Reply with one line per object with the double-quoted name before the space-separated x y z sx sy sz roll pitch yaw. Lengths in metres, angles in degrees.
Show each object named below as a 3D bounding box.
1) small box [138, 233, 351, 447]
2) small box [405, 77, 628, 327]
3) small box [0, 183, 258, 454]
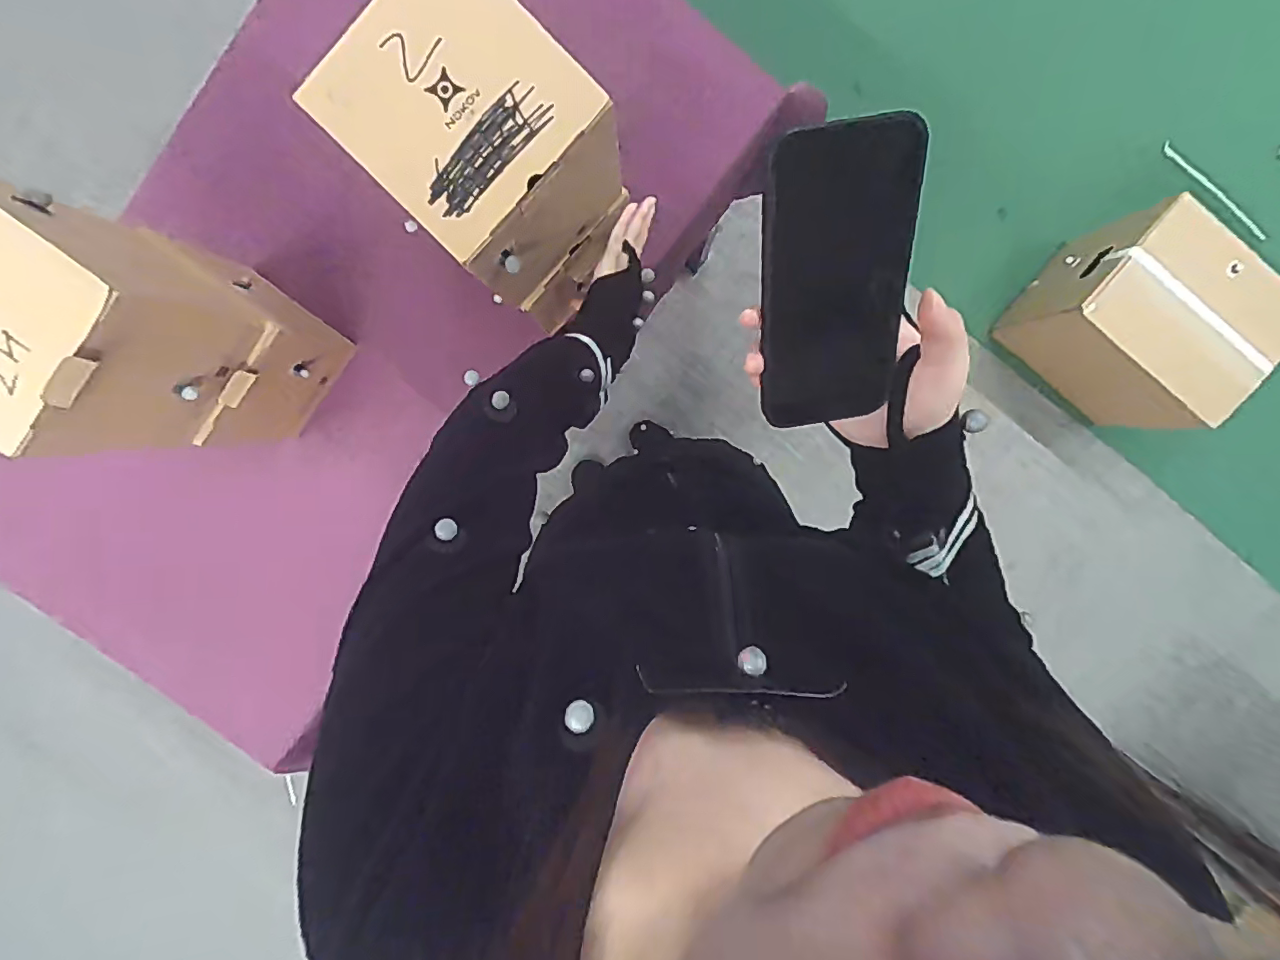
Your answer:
"small box" -0.504 -0.160 0.666 0.179 0.176 0.168 37 95 -3
"small box" -0.131 -0.306 0.644 0.179 0.176 0.168 42 95 -4
"small box" -0.520 -0.140 0.502 0.179 0.176 0.168 37 95 -3
